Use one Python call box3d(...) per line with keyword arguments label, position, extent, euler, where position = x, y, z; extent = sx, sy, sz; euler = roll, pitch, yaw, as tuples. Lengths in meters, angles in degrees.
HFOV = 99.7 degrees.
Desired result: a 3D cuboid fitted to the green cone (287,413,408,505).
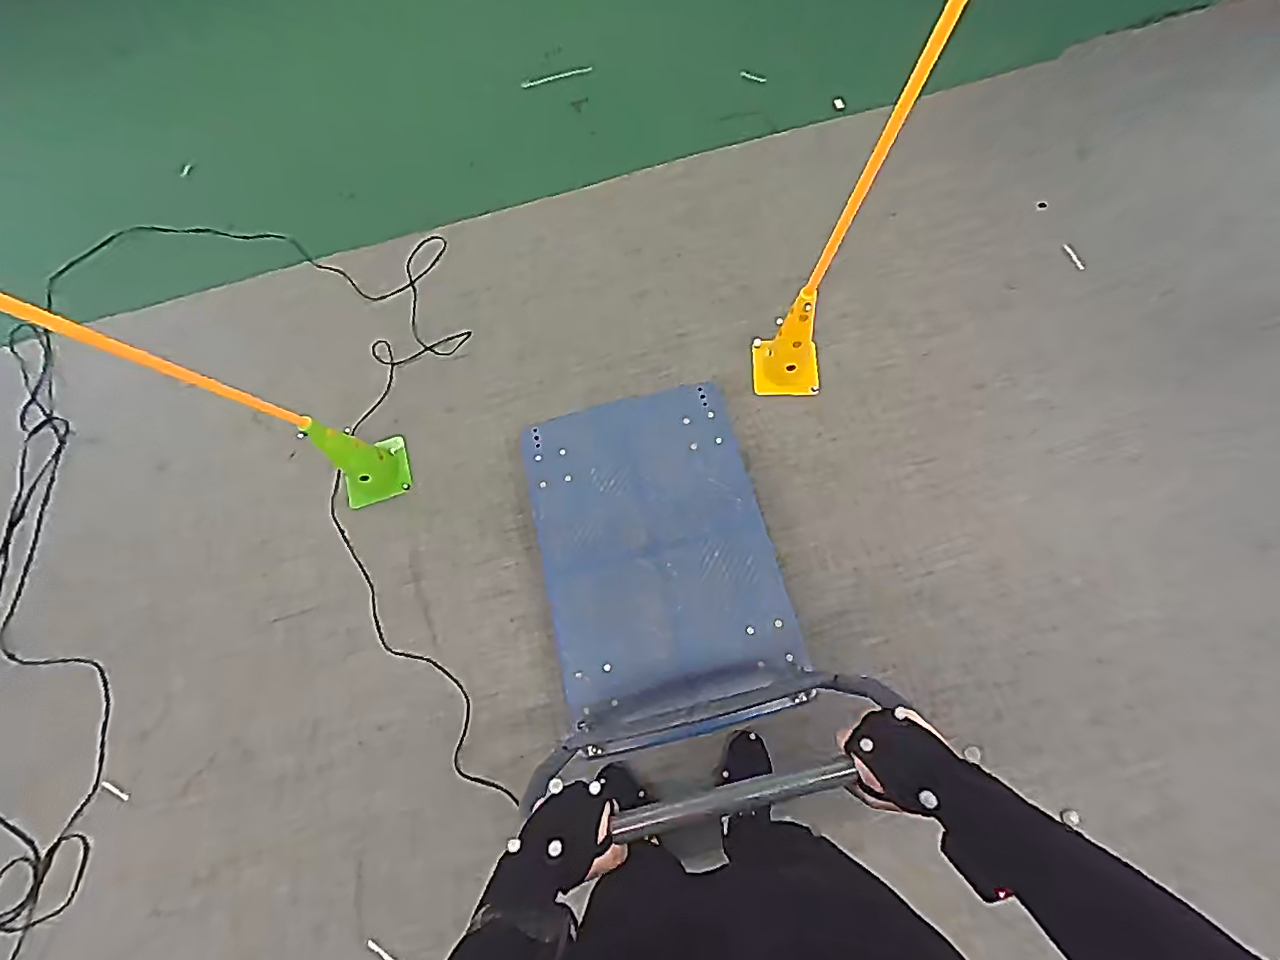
box3d(label="green cone", position=(-0.848, -0.096, 1.530), extent=(0.202, 0.368, 0.200), euler=(-20, 69, -1))
